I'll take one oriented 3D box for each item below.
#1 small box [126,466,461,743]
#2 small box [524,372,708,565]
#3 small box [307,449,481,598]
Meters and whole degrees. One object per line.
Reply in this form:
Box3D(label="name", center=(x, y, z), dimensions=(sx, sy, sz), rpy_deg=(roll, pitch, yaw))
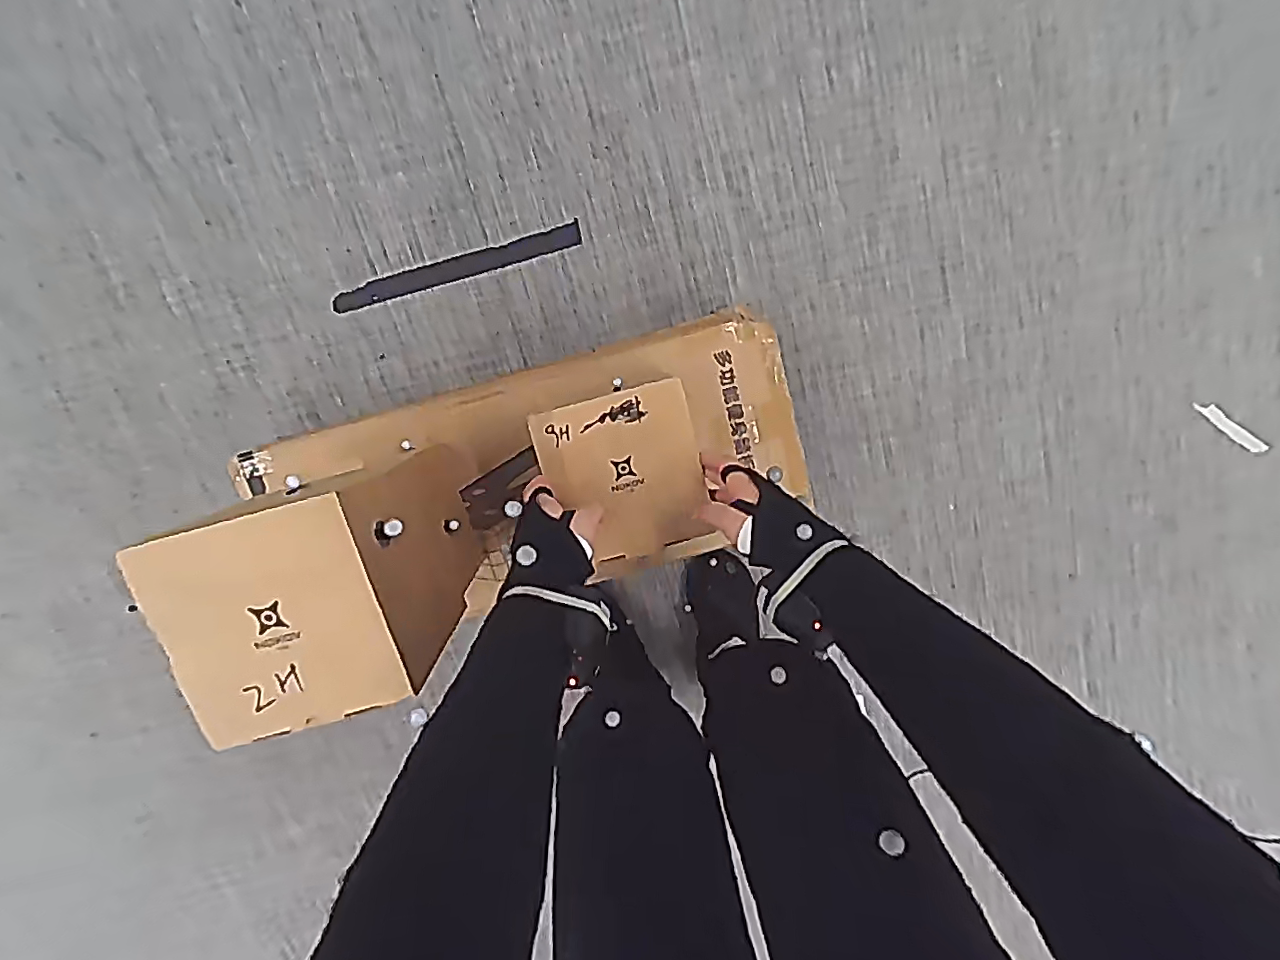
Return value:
Box3D(label="small box", center=(-0.283, 0.092, 0.491), dimensions=(0.168, 0.176, 0.179), rpy_deg=(-15, 103, -1))
Box3D(label="small box", center=(-0.023, -0.024, 0.652), dimensions=(0.168, 0.176, 0.179), rpy_deg=(-14, 104, 2))
Box3D(label="small box", center=(-0.311, 0.069, 0.653), dimensions=(0.168, 0.176, 0.179), rpy_deg=(-17, 104, 0))
